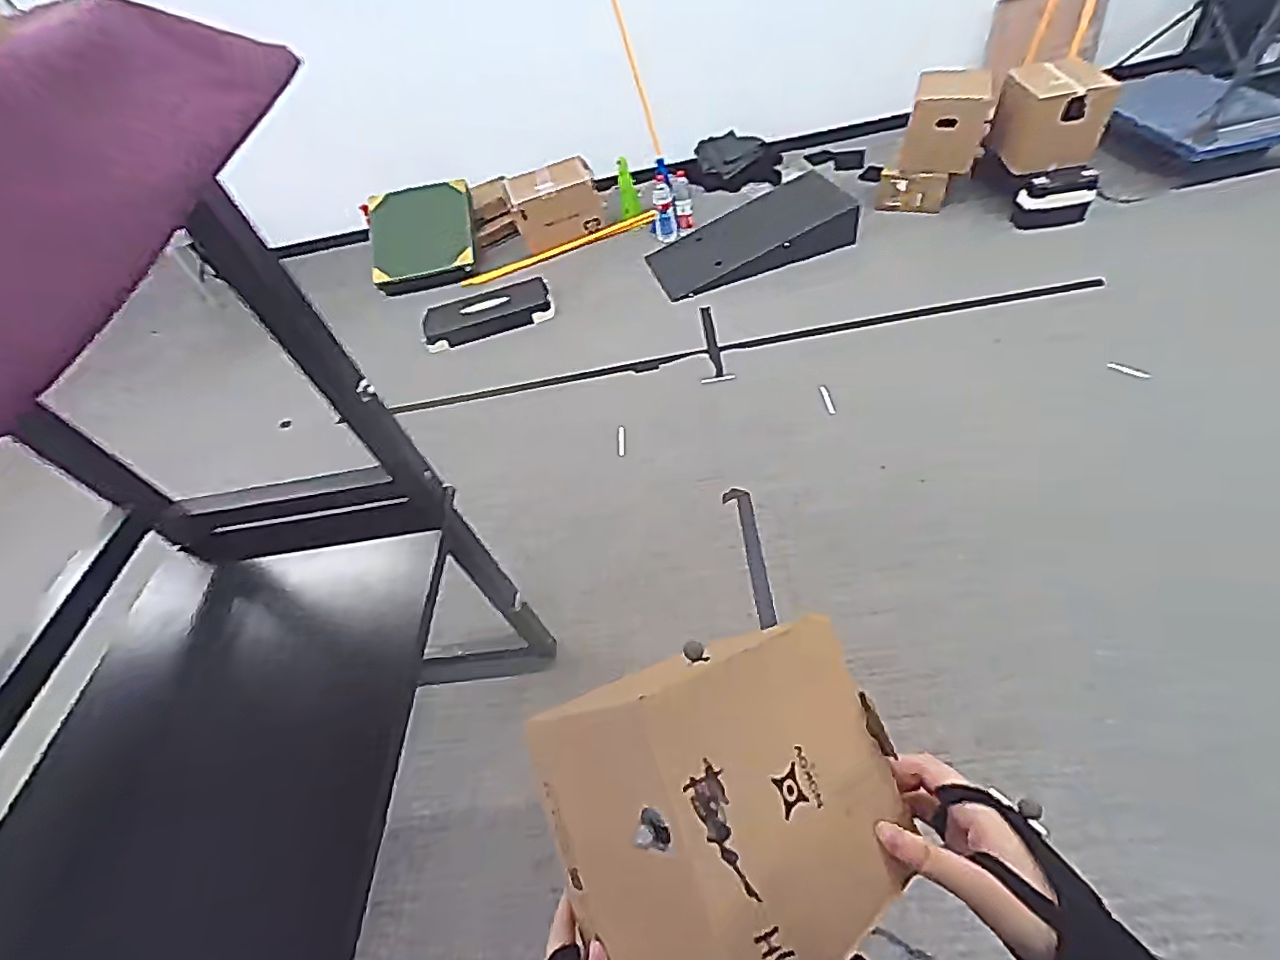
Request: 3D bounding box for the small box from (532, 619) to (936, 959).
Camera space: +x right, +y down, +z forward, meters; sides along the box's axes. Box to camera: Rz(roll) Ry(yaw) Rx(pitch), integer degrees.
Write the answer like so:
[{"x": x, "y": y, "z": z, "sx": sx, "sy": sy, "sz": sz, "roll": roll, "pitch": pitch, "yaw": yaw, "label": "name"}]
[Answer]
[{"x": 0.053, "y": 0.212, "z": 0.371, "sx": 0.179, "sy": 0.176, "sz": 0.168, "roll": -8, "pitch": 69, "yaw": -39, "label": "small box"}]
